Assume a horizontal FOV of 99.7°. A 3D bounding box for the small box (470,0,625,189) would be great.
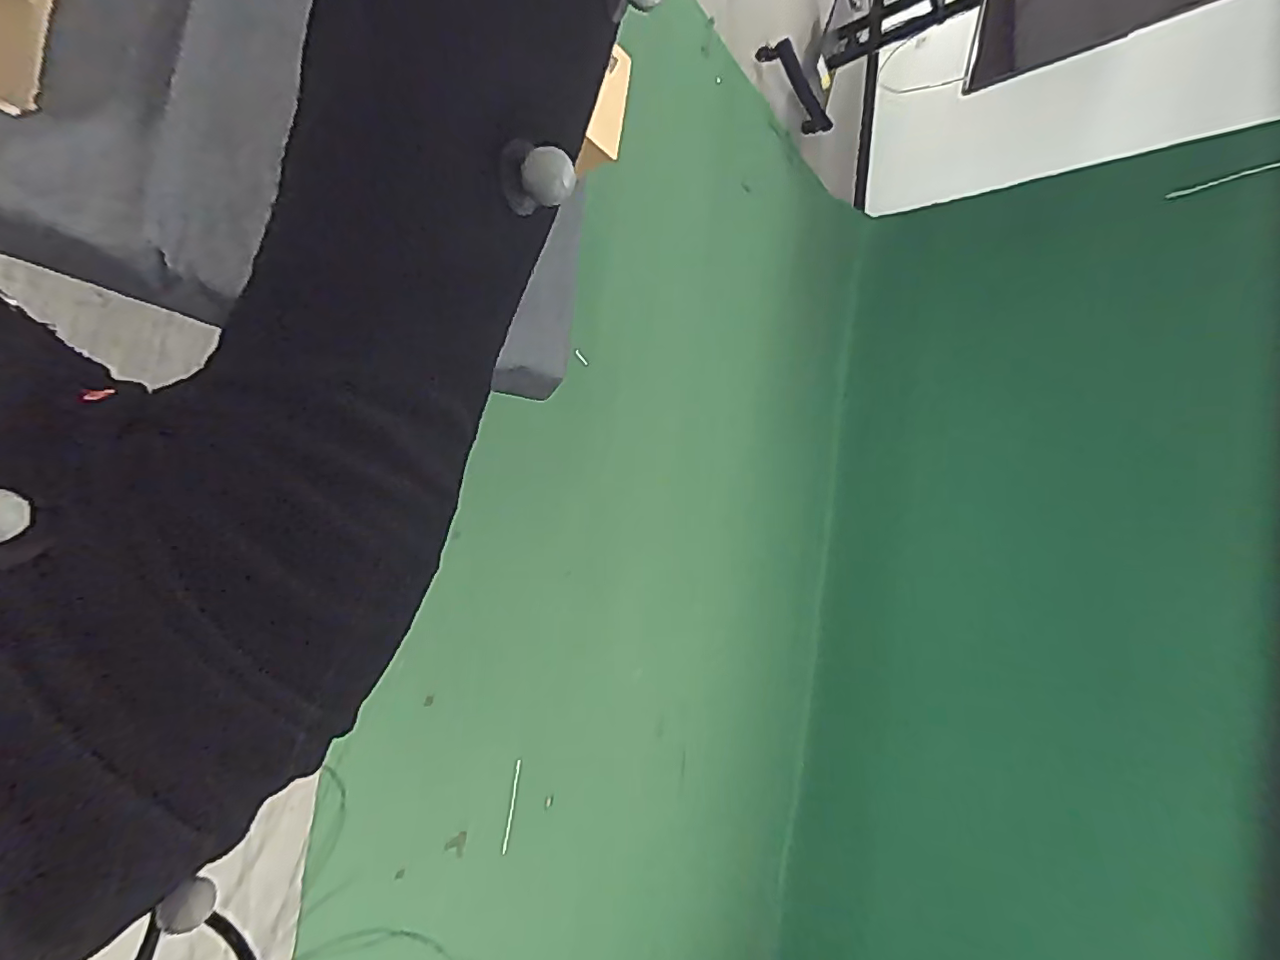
[{"bbox_3d":[-0.148,-0.605,0.856,0.168,0.176,0.179,13,84,-49],"label":"small box"}]
